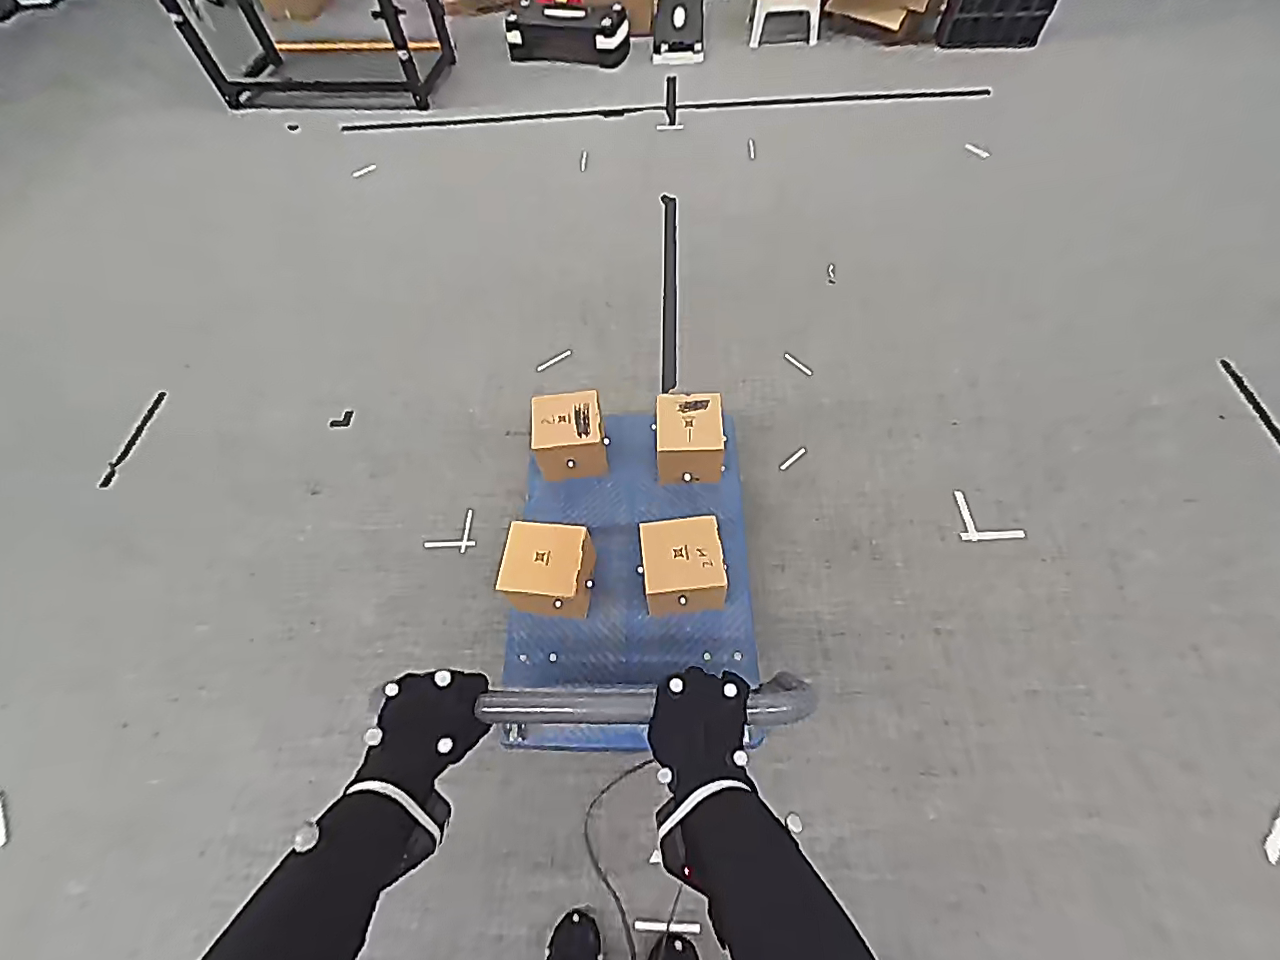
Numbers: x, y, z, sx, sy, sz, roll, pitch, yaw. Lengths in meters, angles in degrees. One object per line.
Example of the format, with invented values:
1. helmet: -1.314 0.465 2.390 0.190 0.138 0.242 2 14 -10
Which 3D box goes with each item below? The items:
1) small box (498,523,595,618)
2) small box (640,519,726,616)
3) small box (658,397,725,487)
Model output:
1. small box: -0.210 0.216 1.265 0.179 0.176 0.168 4 59 5
2. small box: 0.097 0.207 1.248 0.179 0.176 0.168 -6 59 1
3. small box: 0.131 -0.099 1.427 0.168 0.176 0.179 -1 60 4
